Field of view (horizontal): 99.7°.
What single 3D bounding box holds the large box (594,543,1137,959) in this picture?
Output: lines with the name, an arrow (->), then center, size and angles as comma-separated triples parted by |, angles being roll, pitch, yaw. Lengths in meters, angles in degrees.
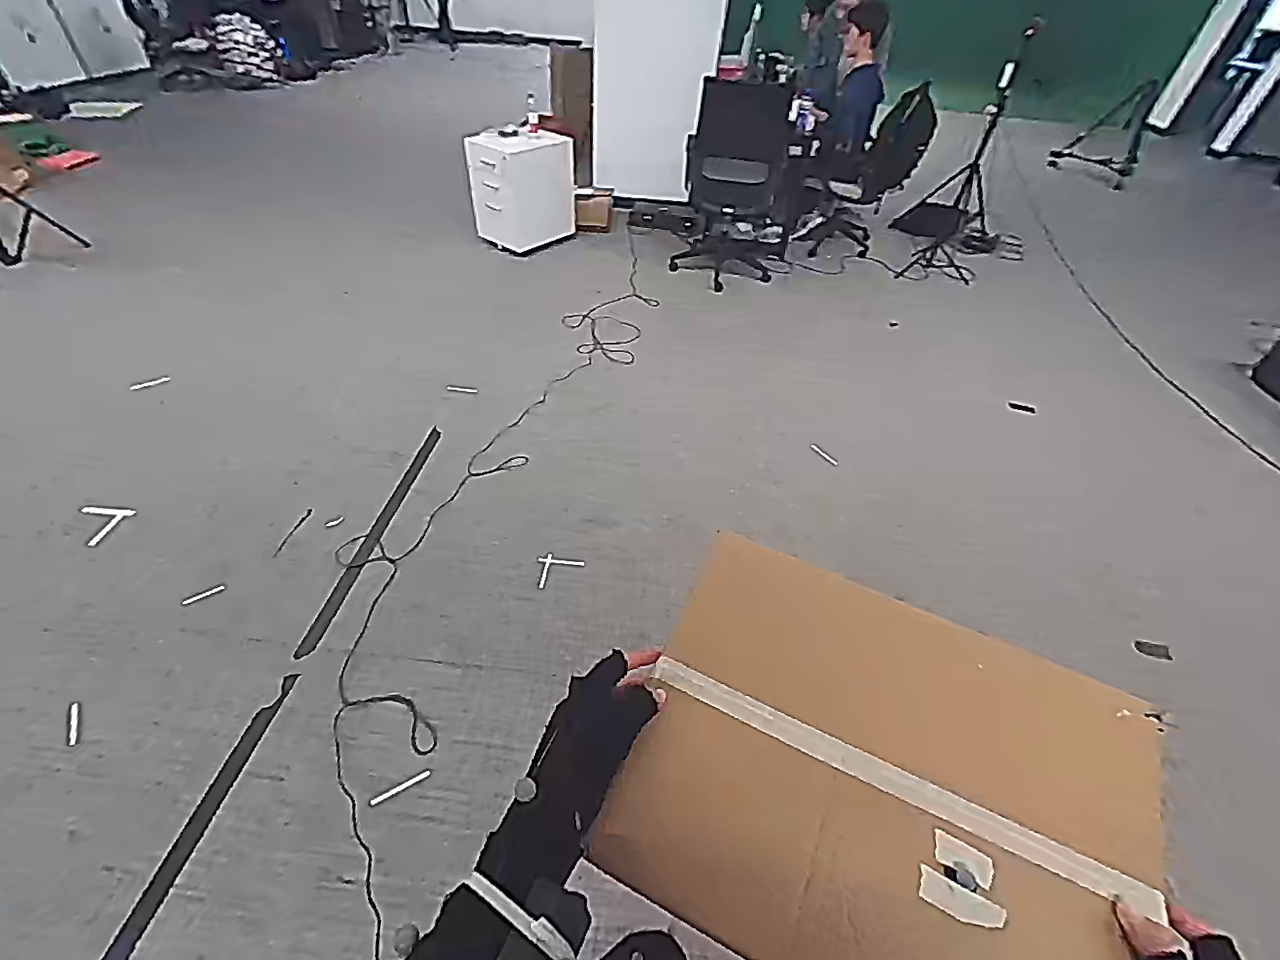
large box -> 0.202, 0.329, 0.589 | 0.408, 0.320, 0.320 | 22, 61, 14
